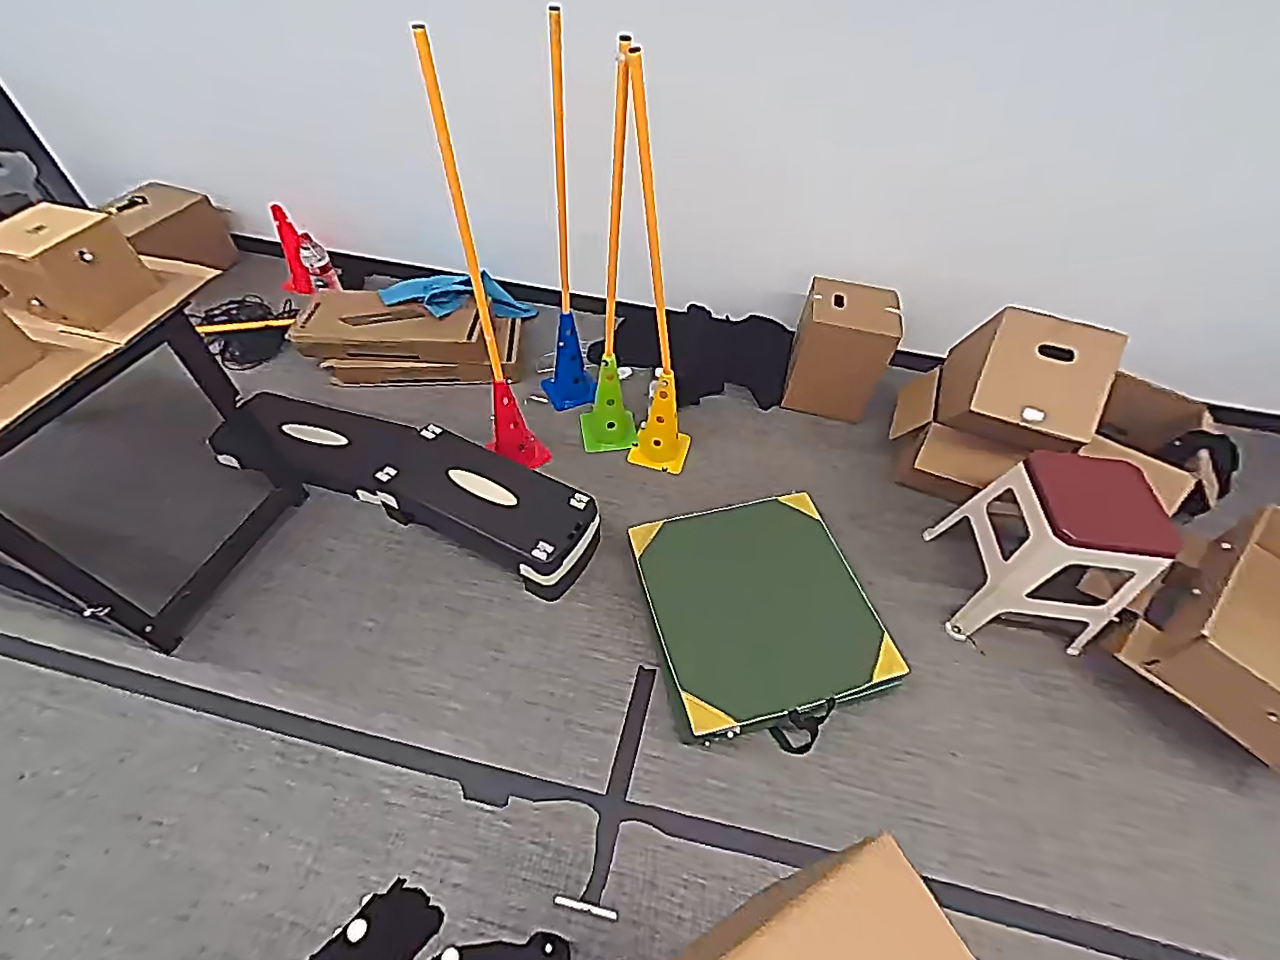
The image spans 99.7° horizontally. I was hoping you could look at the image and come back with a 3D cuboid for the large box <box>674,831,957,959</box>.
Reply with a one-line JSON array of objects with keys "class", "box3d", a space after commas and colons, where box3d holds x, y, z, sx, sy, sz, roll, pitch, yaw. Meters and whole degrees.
[{"class": "large box", "box3d": [0.215, 0.736, 0.694, 0.320, 0.408, 0.320, -12, 50, -30]}]
